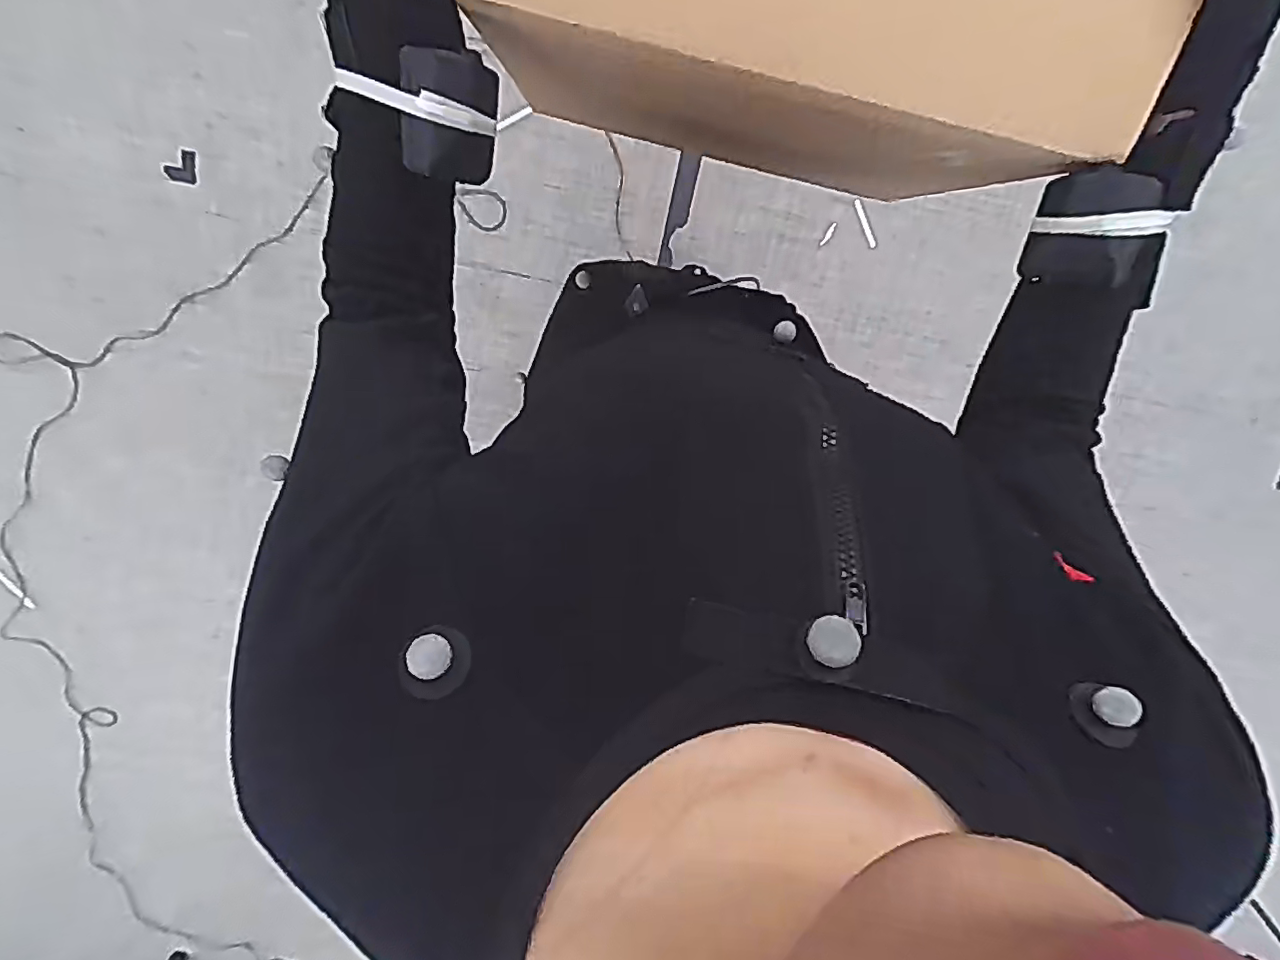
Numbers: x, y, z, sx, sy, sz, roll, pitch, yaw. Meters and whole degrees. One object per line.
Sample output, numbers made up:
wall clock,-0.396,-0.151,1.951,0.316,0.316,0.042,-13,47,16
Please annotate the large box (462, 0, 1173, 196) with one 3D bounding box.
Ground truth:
large box,0.114,-0.426,0.393,0.408,0.320,0.320,10,114,-7
